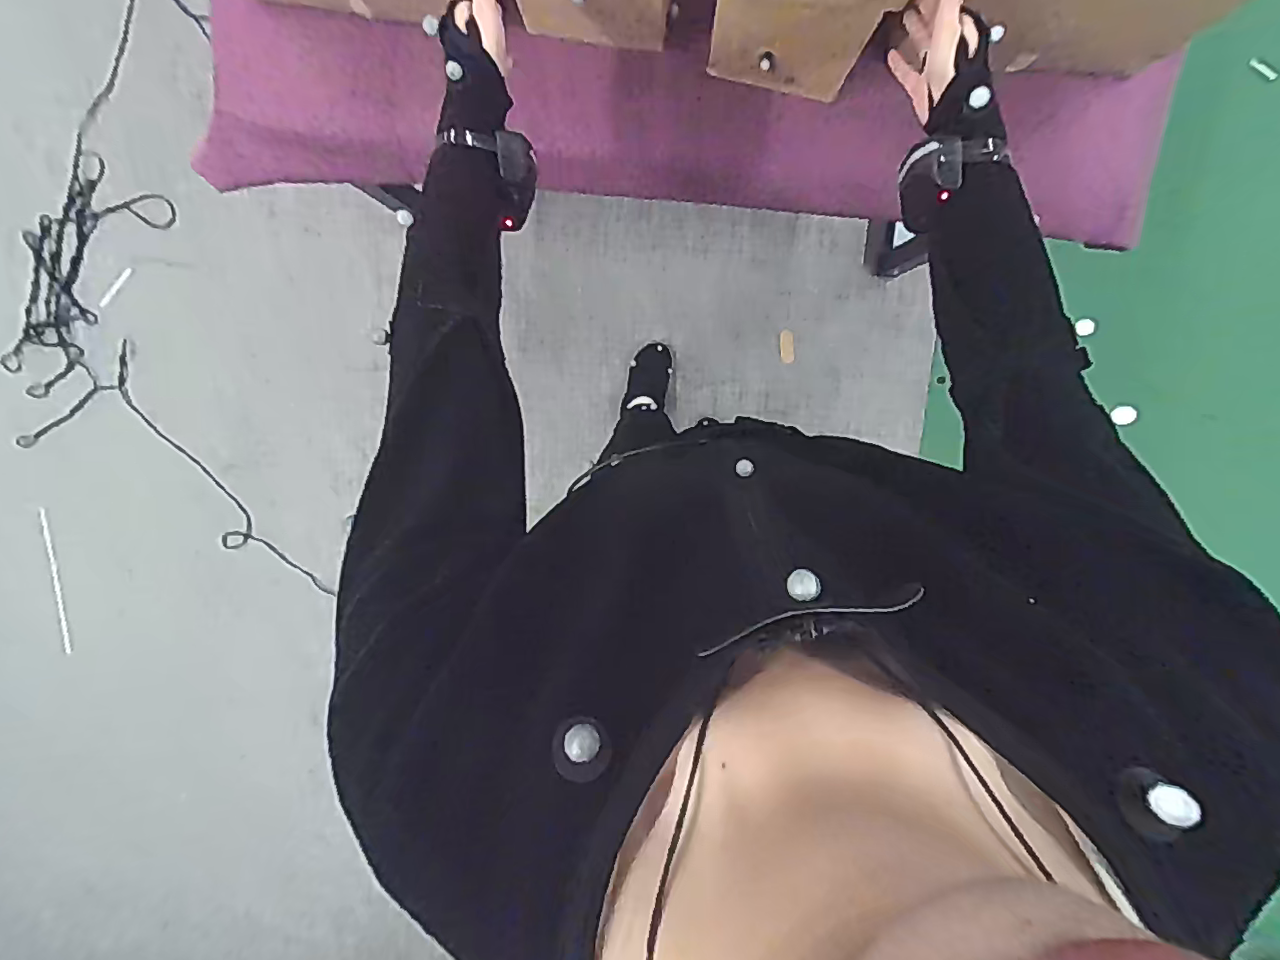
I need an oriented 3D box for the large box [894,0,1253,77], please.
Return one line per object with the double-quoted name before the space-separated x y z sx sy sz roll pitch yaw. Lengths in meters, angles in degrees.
"large box" 0.466 -0.673 0.492 0.320 0.320 0.408 4 101 4
